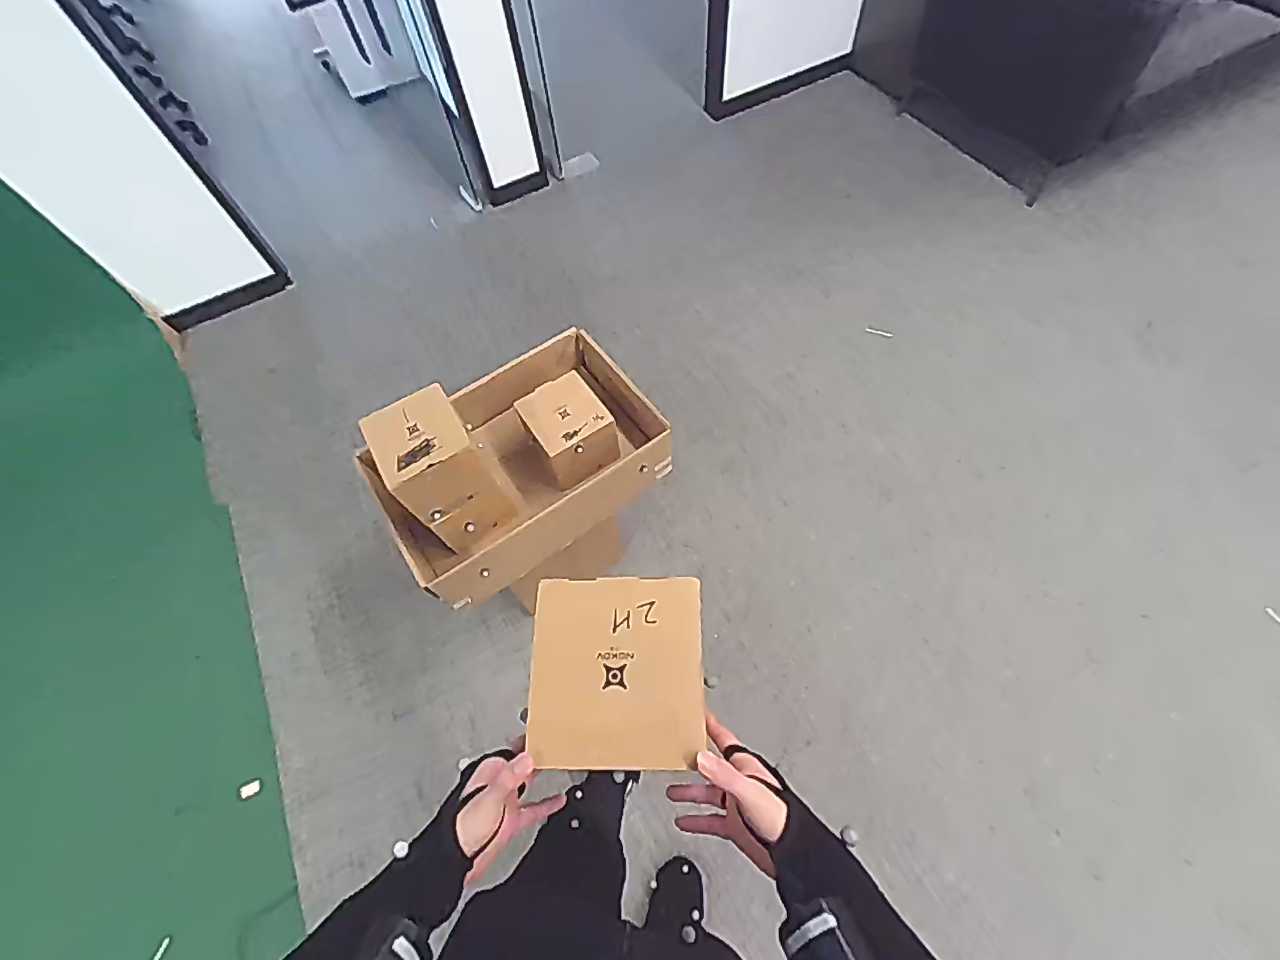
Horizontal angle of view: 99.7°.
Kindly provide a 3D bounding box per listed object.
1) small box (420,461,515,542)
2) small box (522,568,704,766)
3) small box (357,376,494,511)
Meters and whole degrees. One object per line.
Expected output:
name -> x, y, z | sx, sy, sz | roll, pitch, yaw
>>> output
small box -> -0.398, 0.017, 1.191 | 0.168, 0.176, 0.179 | -33, 65, -13
small box -> -0.016, 0.201, 0.578 | 0.168, 0.176, 0.179 | -1, 64, 4
small box -> -0.406, -0.060, 1.046 | 0.168, 0.176, 0.179 | -29, 64, -12
